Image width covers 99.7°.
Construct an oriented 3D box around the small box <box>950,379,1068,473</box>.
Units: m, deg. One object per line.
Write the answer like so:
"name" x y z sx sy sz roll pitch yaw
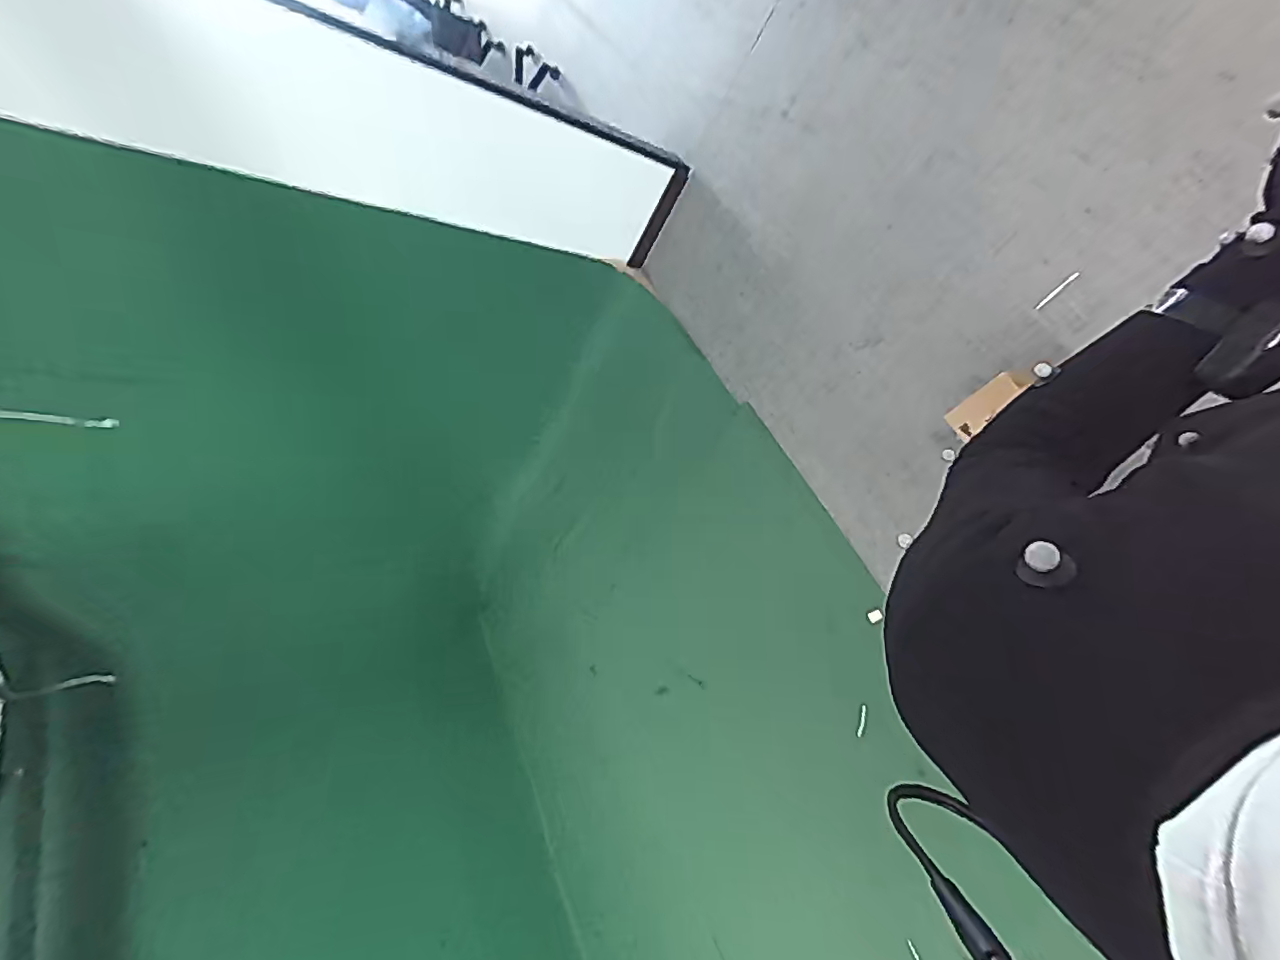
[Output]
"small box" 0.940 -0.135 1.371 0.179 0.176 0.168 -48 57 40
